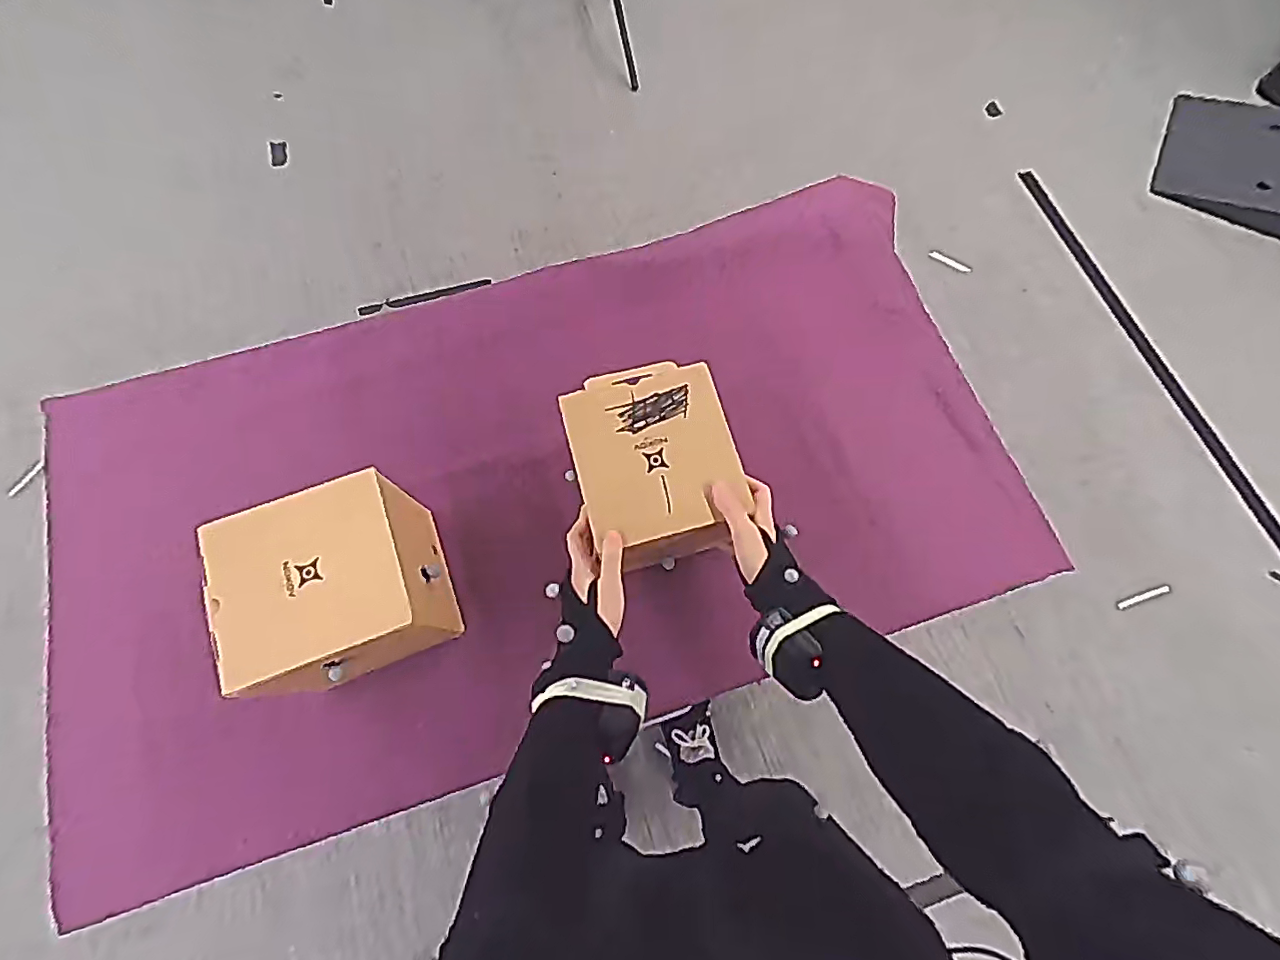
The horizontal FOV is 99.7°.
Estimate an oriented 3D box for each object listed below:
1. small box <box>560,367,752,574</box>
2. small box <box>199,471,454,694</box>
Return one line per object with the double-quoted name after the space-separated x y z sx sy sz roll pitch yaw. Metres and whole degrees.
0.011 -0.002 0.630 0.168 0.176 0.179 -14 74 -5 "small box"
-0.319 0.114 0.588 0.179 0.176 0.168 -21 74 -7 "small box"
